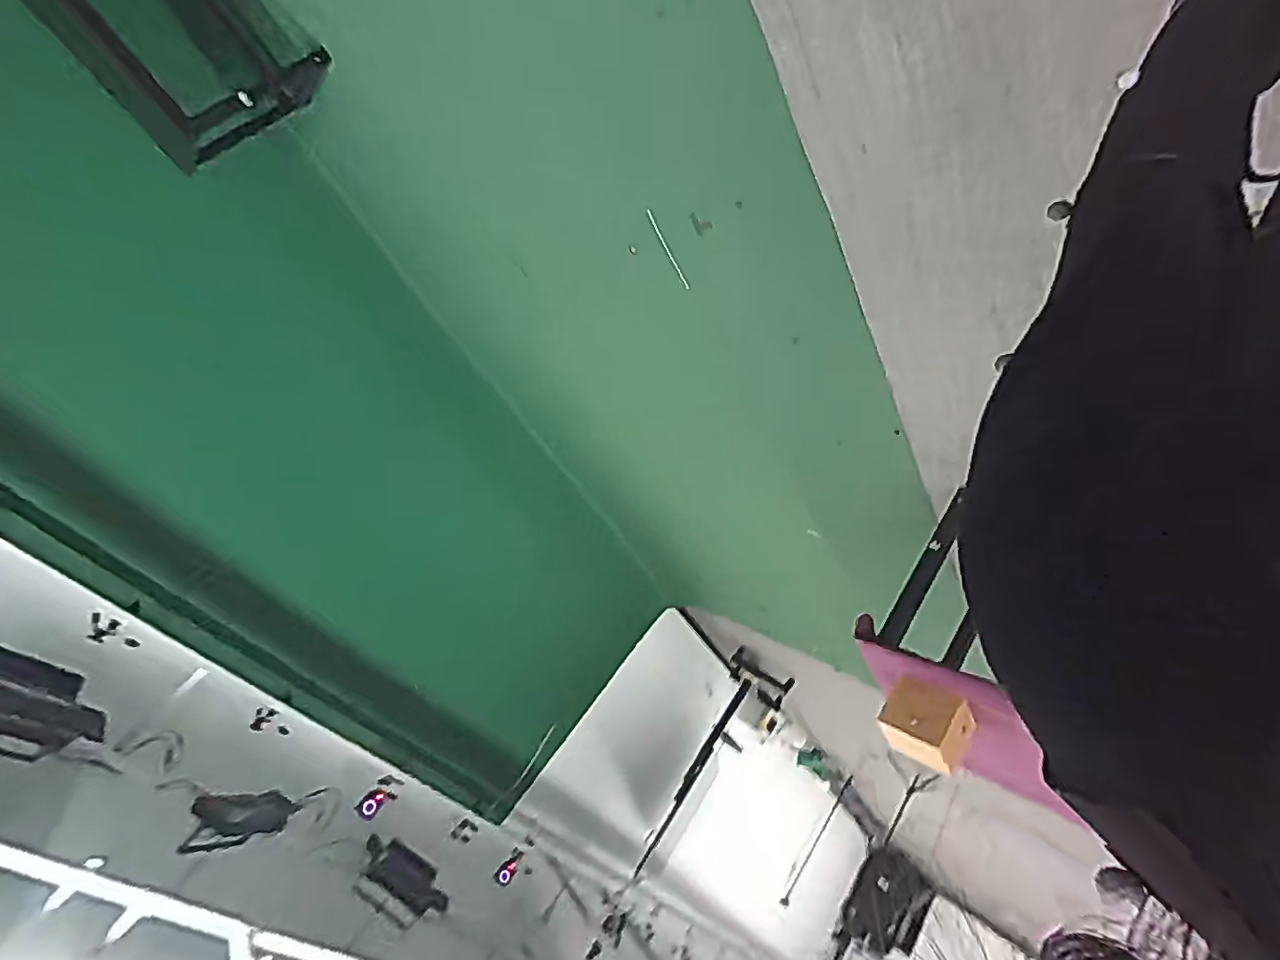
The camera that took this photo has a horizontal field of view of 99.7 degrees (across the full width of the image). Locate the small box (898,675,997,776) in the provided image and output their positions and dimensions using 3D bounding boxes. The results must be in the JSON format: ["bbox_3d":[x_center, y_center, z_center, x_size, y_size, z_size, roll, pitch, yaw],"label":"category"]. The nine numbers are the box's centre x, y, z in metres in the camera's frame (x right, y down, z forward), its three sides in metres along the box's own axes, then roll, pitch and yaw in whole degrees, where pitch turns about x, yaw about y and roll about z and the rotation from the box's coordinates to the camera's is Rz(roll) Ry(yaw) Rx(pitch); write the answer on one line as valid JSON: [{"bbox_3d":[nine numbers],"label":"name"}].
[{"bbox_3d":[0.866,0.678,1.520,0.179,0.176,0.168,9,142,53],"label":"small box"}]
